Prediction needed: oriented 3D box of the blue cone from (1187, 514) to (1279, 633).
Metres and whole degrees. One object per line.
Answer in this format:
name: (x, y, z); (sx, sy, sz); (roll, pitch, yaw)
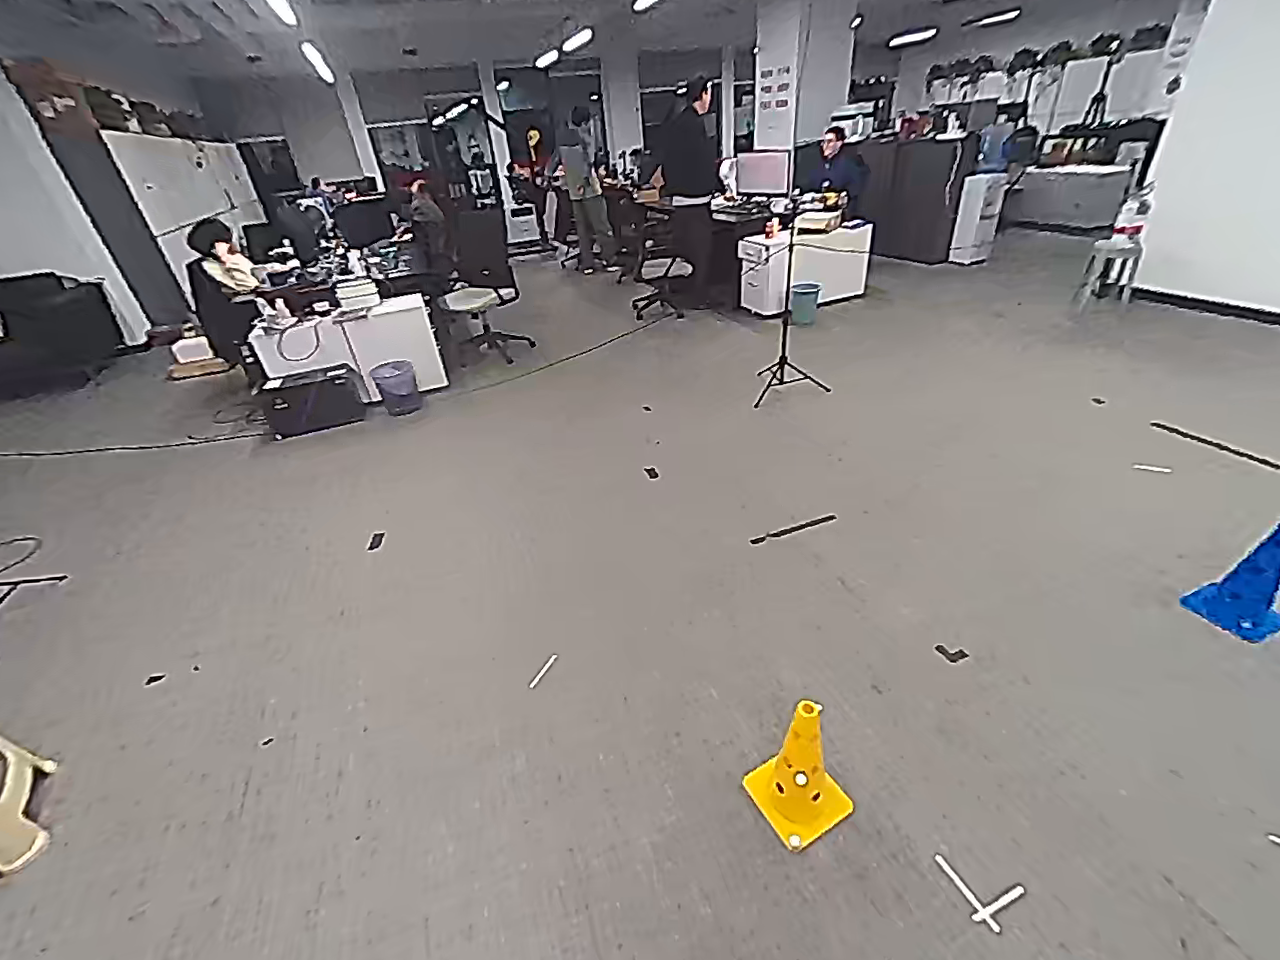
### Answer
blue cone: (1.832, 0.250, 1.586); (0.193, 0.380, 0.192); (-16, 33, -15)
